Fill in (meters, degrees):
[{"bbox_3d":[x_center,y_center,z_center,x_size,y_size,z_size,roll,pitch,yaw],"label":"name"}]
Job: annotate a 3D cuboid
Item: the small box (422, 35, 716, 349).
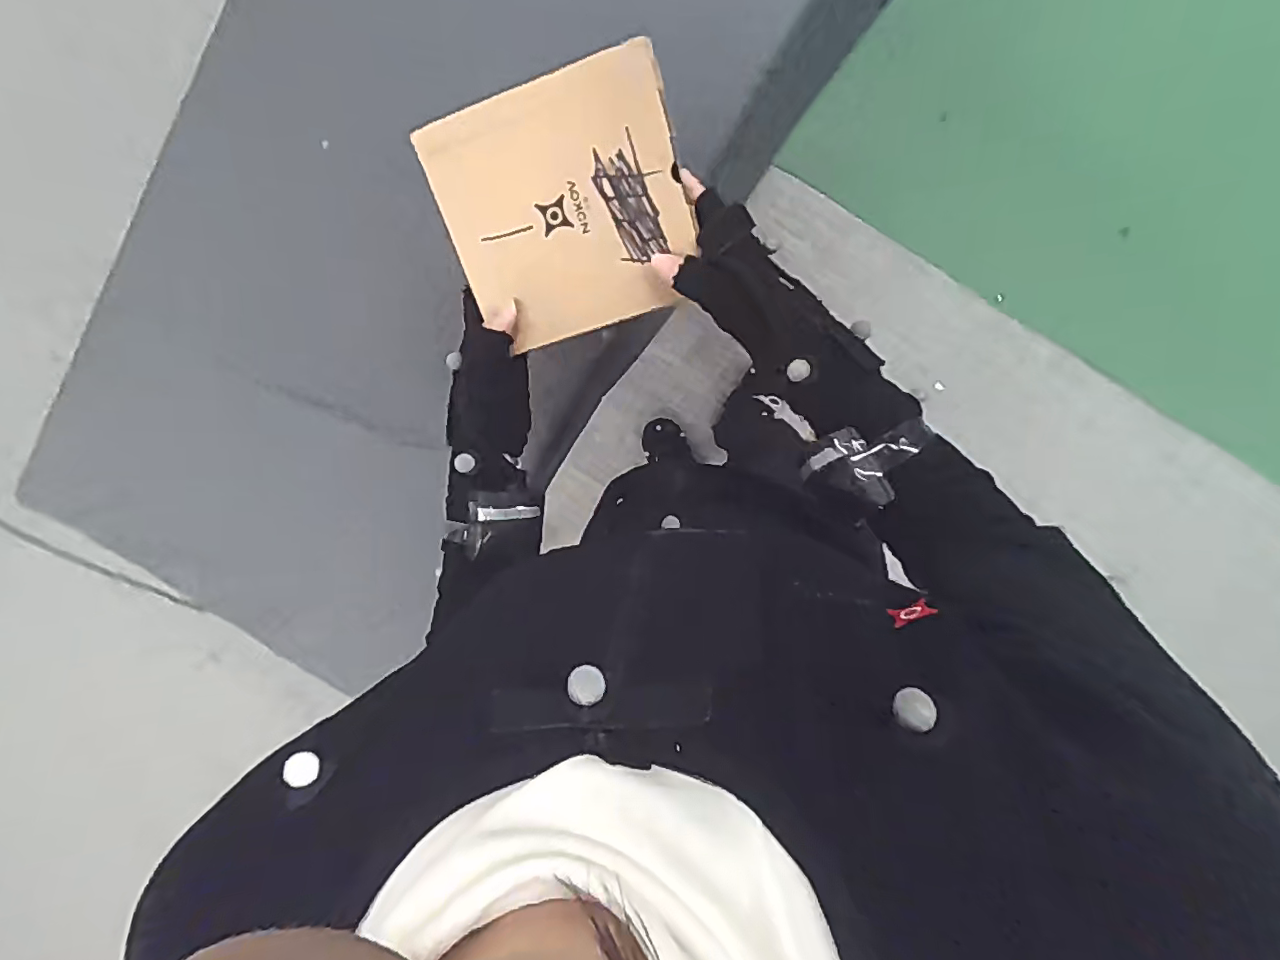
[{"bbox_3d":[-0.043,-0.224,0.460,0.179,0.176,0.168,-14,110,9],"label":"small box"}]
